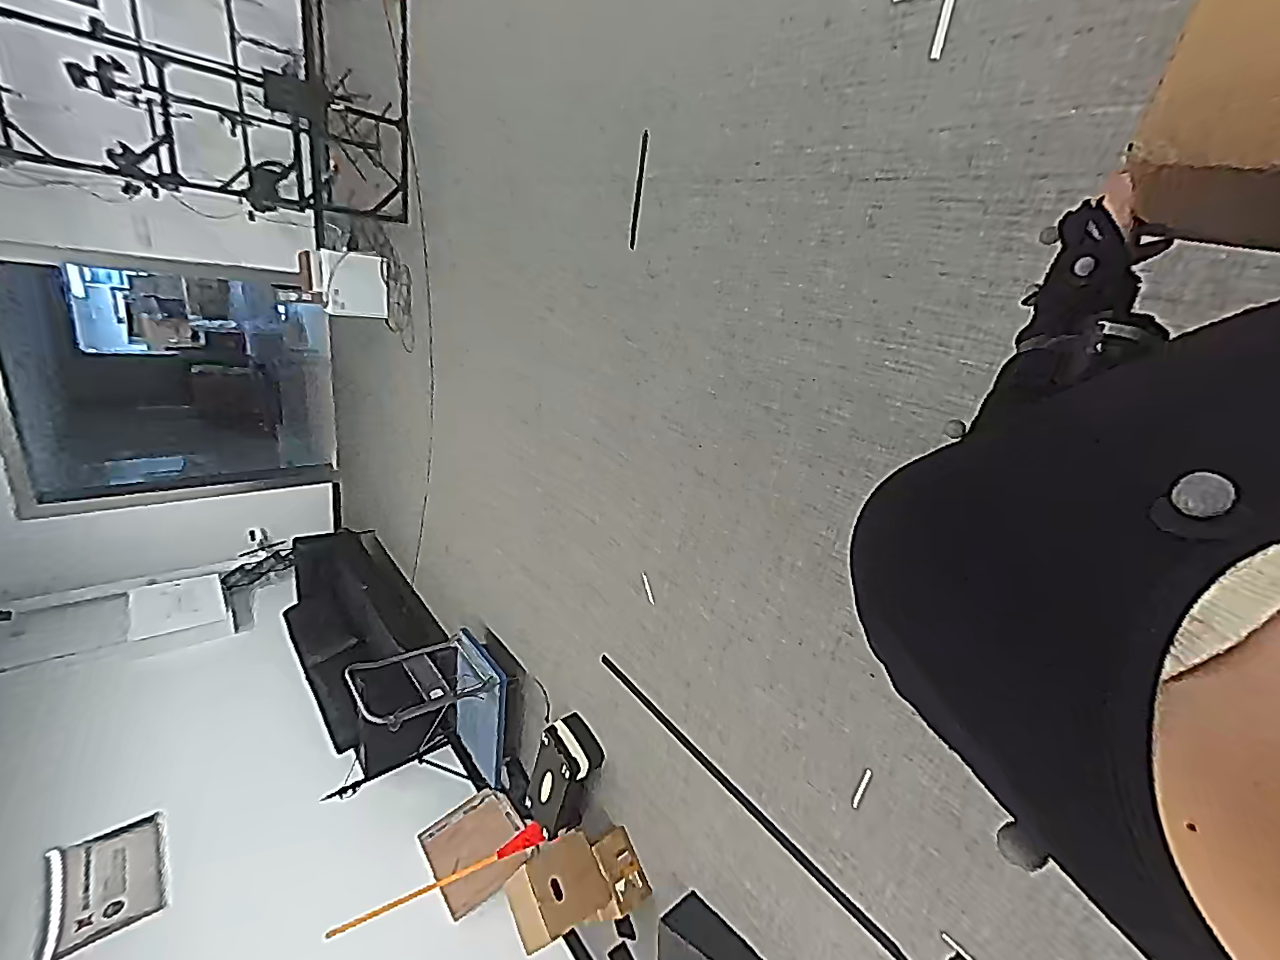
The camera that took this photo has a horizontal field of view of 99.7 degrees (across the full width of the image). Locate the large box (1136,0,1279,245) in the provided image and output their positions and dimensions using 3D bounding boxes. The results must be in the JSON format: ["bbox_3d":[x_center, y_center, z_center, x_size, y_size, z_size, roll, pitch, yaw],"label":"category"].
[{"bbox_3d":[0.501,-0.249,0.192,0.408,0.320,0.320,28,121,33],"label":"large box"}]
